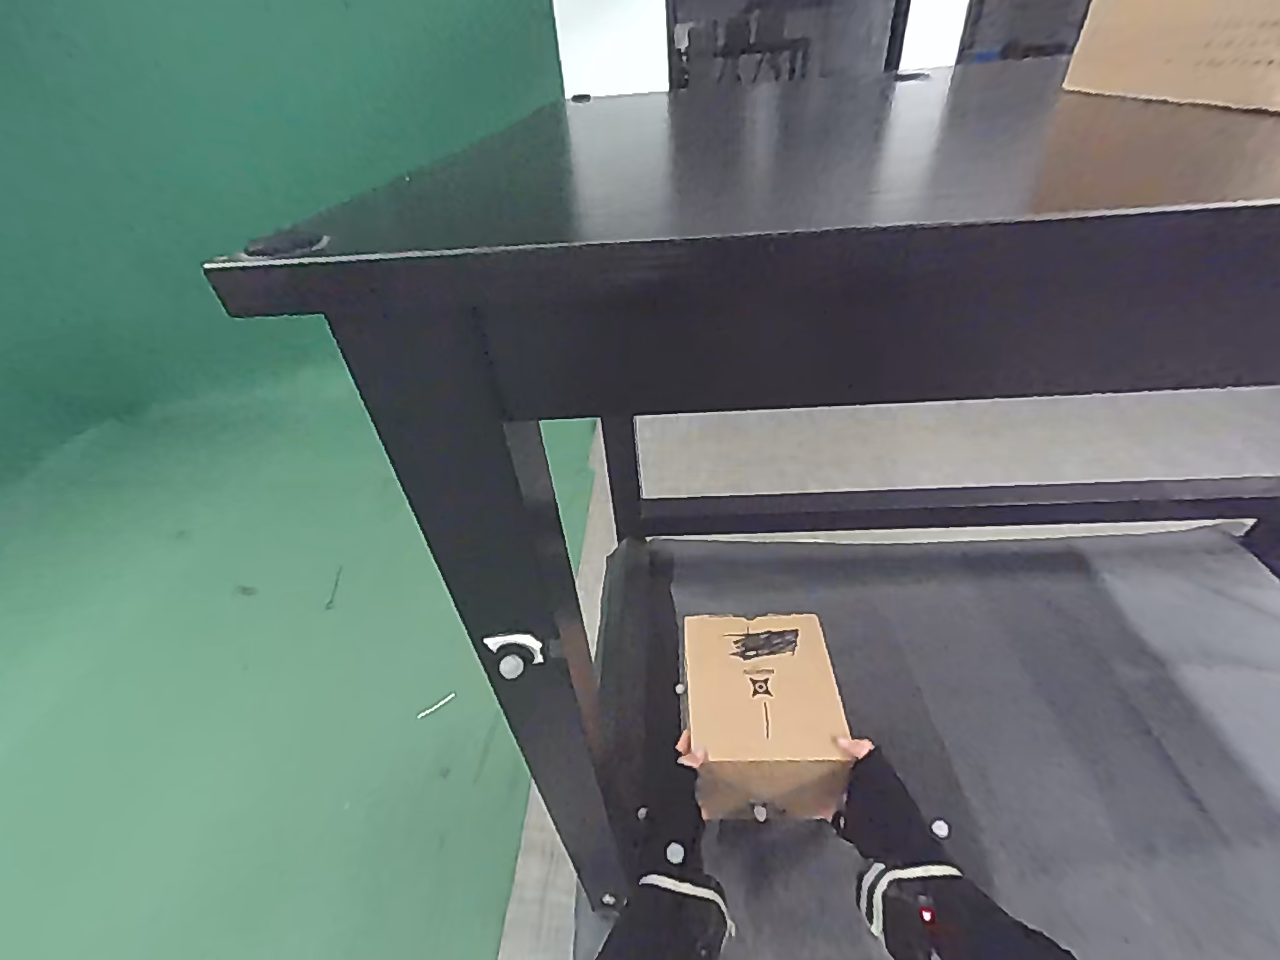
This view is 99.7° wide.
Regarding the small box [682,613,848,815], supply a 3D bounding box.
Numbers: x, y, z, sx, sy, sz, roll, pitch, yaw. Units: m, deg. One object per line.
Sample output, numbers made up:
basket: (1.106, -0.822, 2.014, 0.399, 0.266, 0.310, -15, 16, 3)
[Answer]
small box: (0.137, 0.285, 0.666, 0.168, 0.176, 0.179, -2, 41, 3)
